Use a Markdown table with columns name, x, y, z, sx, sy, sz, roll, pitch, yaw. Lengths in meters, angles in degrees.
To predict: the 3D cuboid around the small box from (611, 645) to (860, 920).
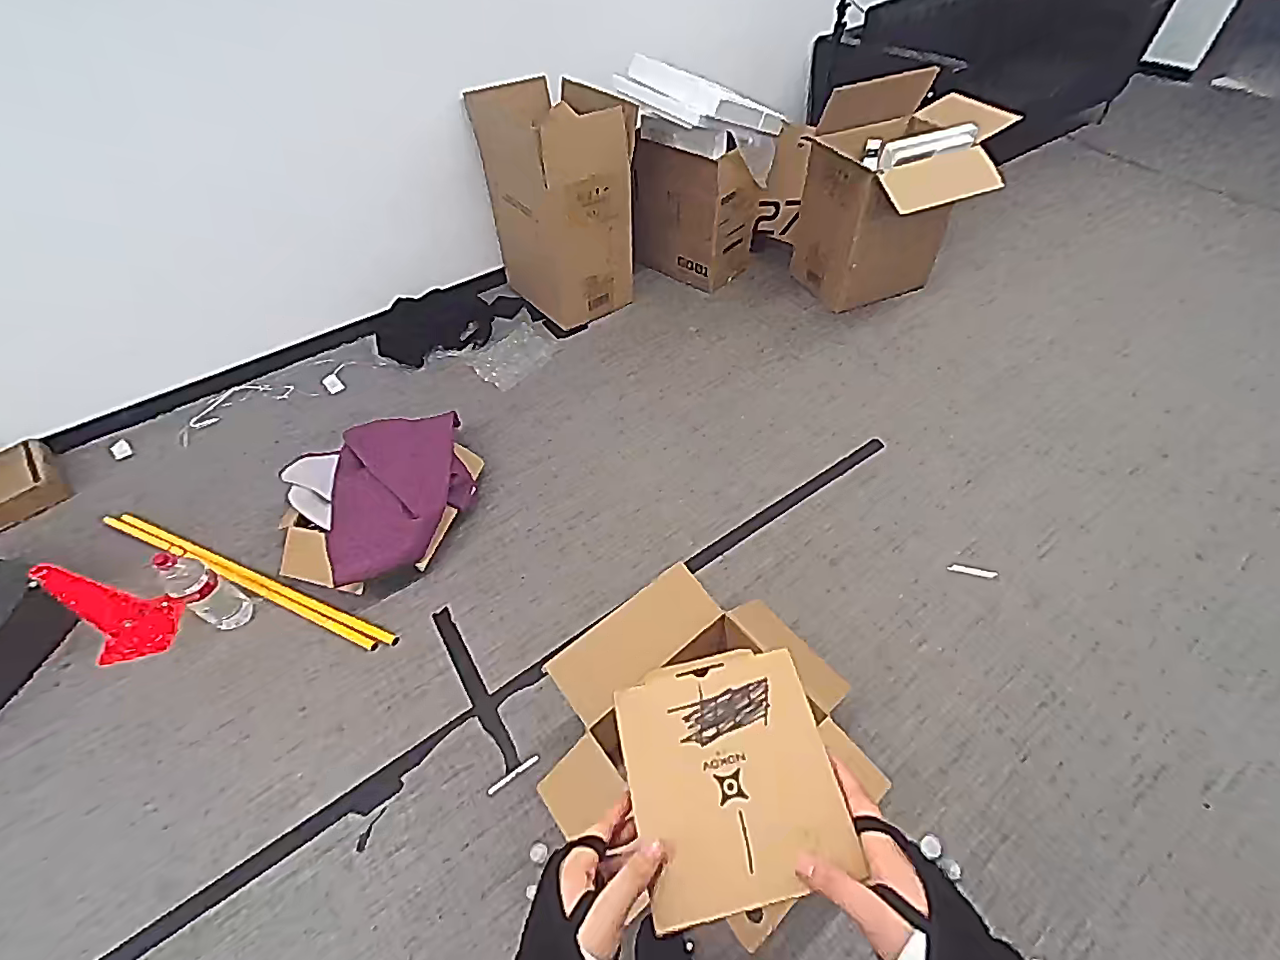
| name | x | y | z | sx | sy | sz | roll | pitch | yaw |
| --- | --- | --- | --- | --- | --- | --- | --- | --- | --- |
| small box | 0.078 | 0.282 | 0.509 | 0.168 | 0.176 | 0.179 | -15 | 54 | 0 |
